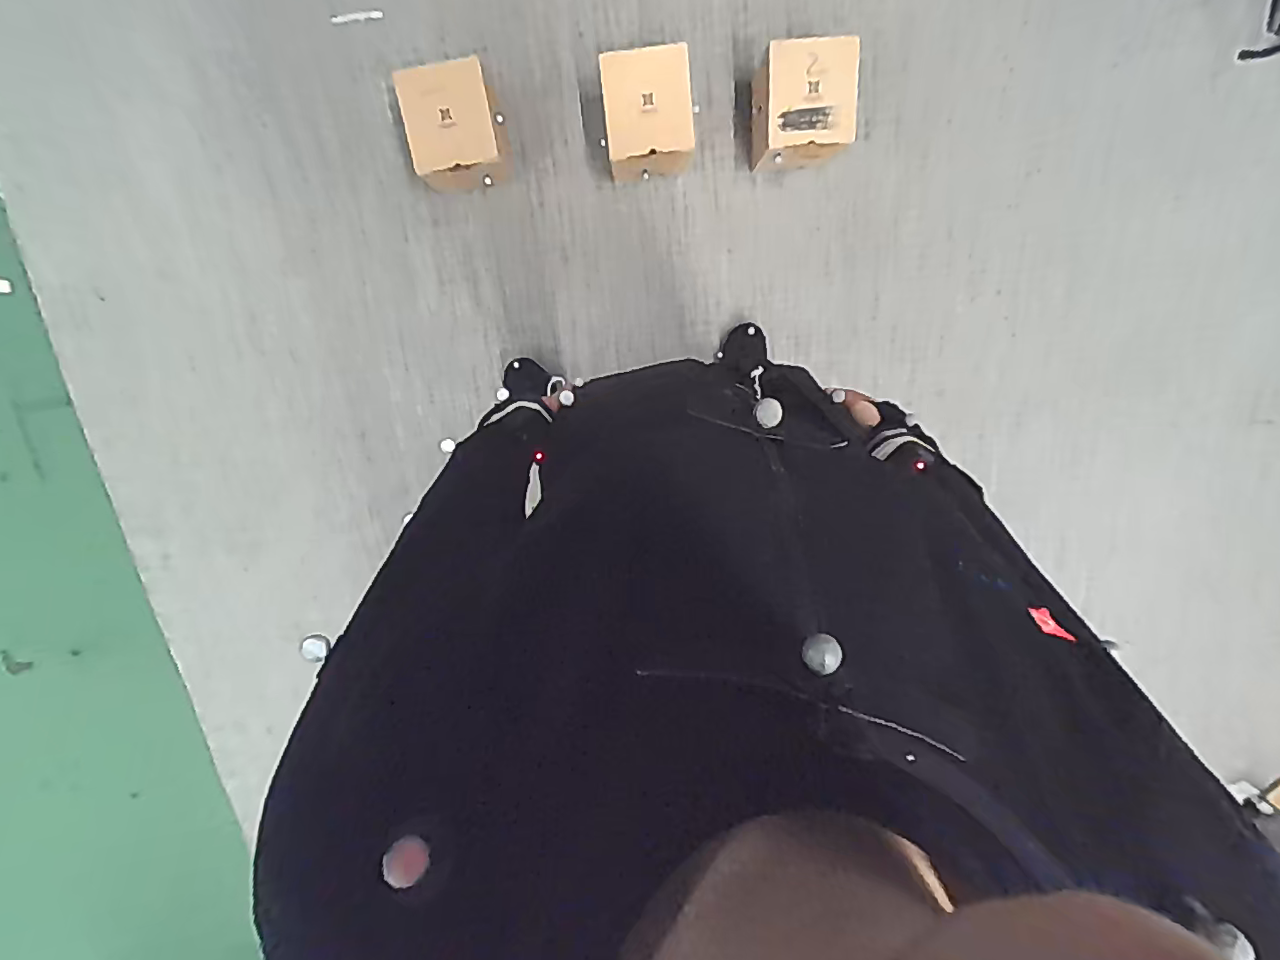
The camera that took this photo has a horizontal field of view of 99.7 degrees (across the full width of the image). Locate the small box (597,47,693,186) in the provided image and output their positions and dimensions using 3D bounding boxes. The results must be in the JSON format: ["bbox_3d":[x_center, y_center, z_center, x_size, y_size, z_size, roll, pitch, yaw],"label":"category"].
[{"bbox_3d":[0.008,-0.707,1.069,0.168,0.176,0.179,-7,105,1],"label":"small box"}]

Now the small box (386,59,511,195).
[{"bbox_3d":[-0.367,-0.684,1.072,0.168,0.176,0.179,-9,104,1],"label":"small box"}]
